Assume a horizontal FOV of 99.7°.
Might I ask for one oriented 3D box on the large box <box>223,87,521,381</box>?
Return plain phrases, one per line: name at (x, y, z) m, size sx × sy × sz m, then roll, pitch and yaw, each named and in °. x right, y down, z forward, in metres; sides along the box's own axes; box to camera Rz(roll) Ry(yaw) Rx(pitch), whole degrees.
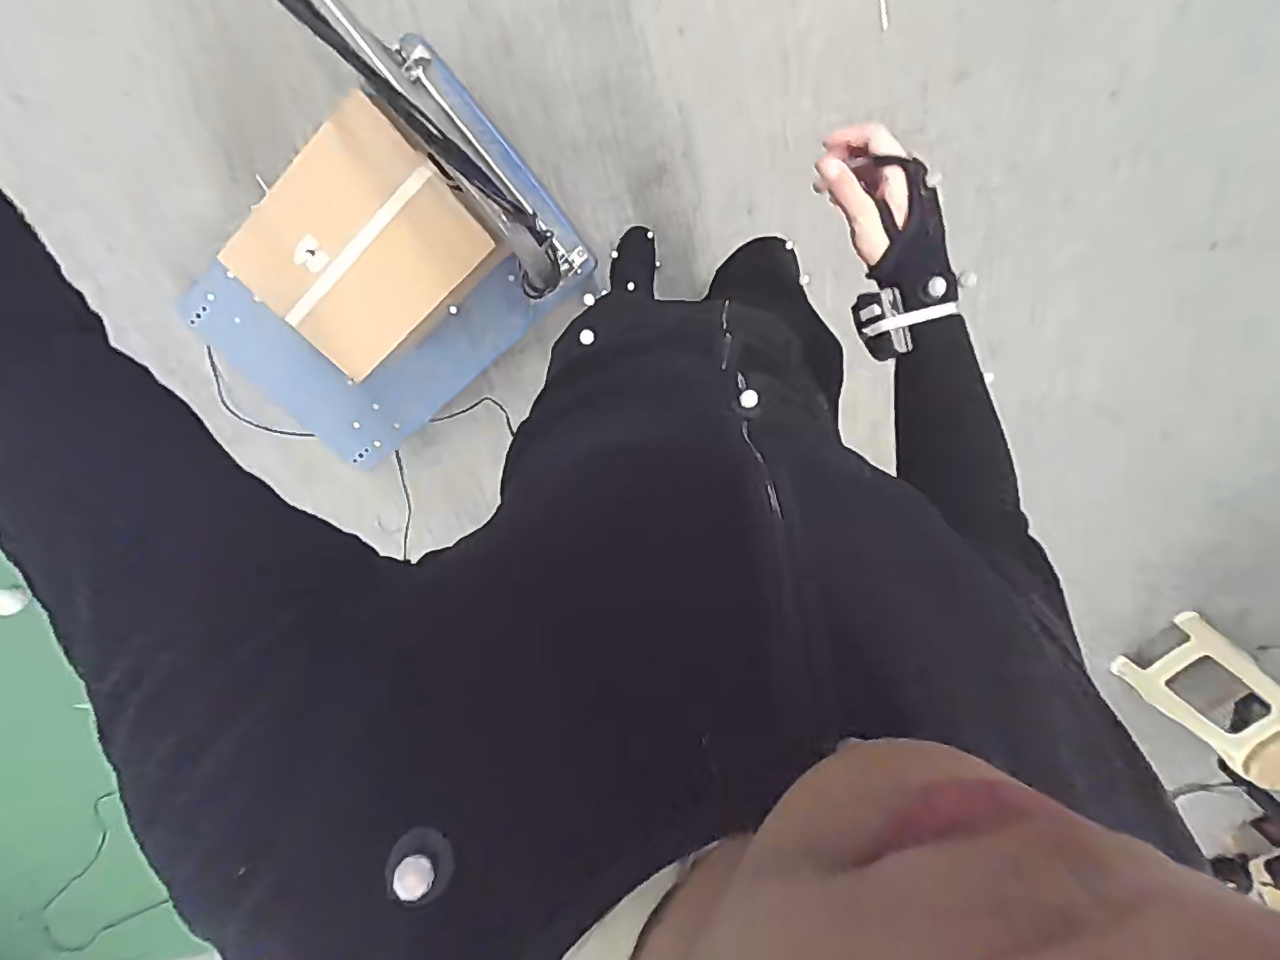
large box at (-0.509, -0.482, 1.103) m, size 0.408 × 0.320 × 0.320 m, roll -37°, pitch 111°, yaw 16°
